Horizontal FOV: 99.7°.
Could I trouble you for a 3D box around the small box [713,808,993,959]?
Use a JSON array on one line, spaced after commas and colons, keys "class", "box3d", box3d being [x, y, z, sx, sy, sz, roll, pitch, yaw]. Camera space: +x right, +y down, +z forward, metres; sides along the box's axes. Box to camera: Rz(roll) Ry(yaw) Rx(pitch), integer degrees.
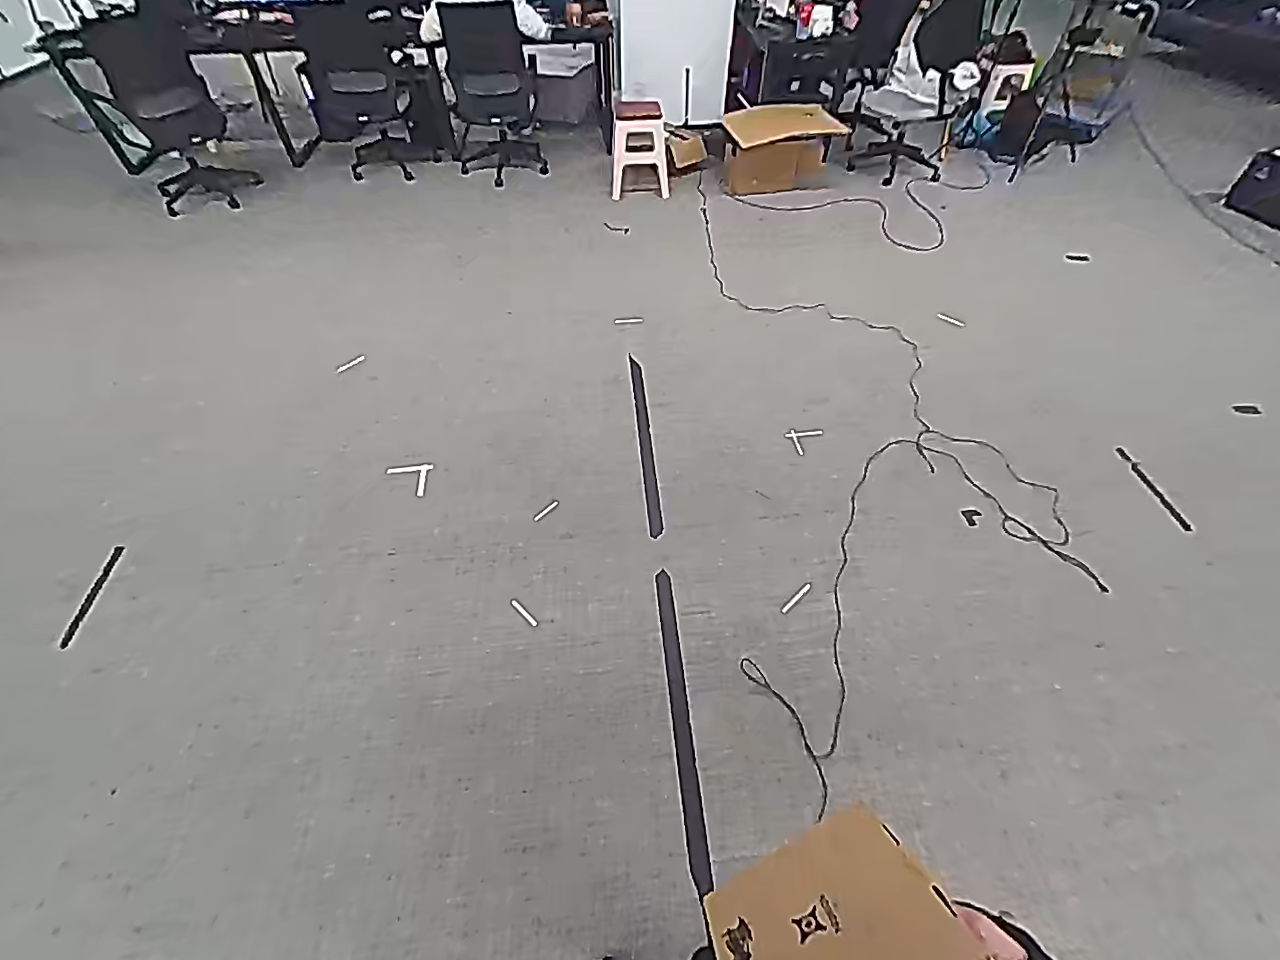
[{"class": "small box", "box3d": [0.185, 0.421, 0.430, 0.179, 0.168, 0.176, -28, 91, -3]}]
